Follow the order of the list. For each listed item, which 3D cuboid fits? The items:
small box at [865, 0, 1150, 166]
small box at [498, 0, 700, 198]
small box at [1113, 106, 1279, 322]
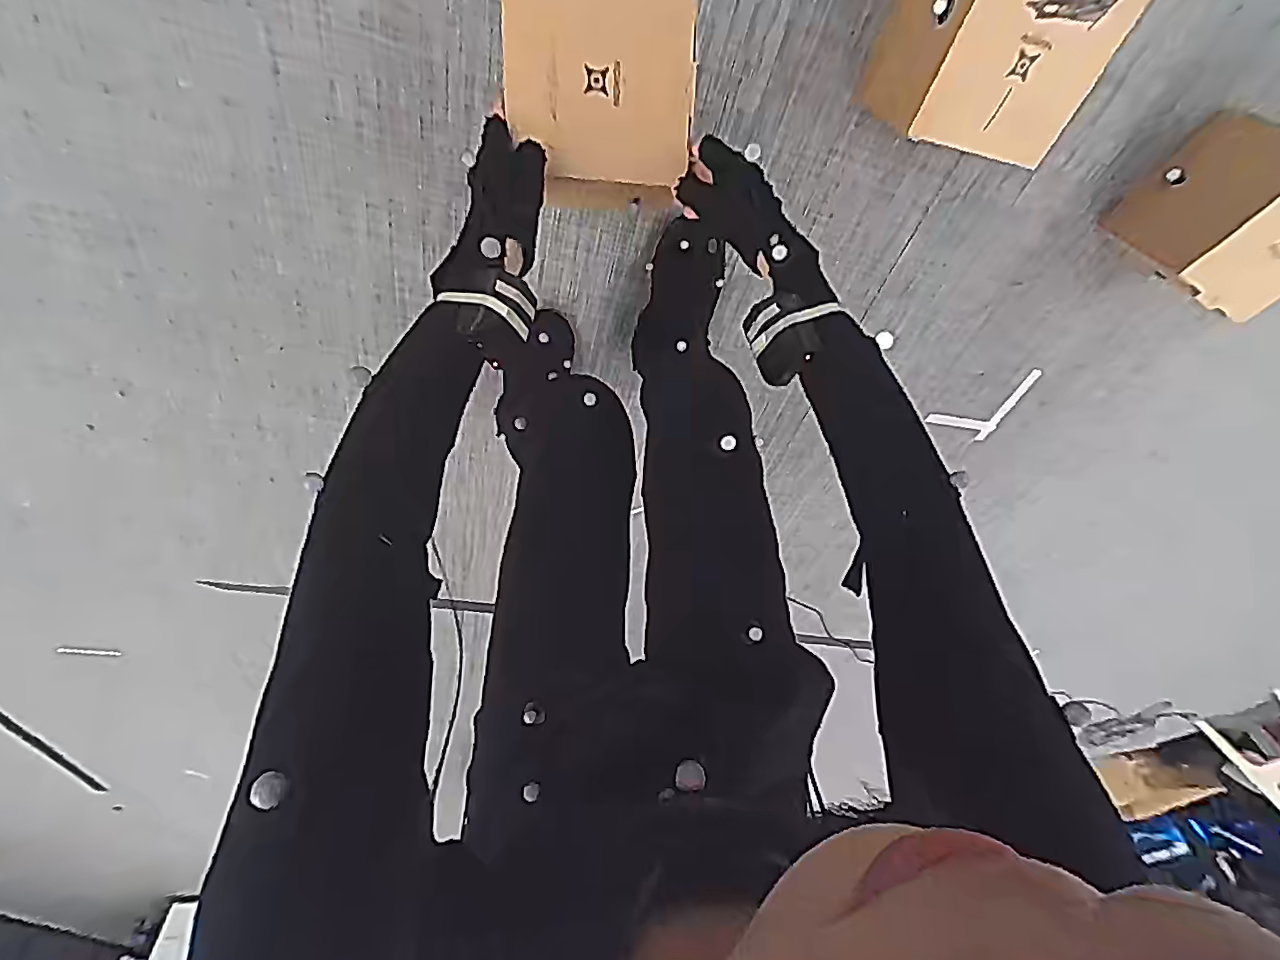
[{"bbox_3d":[0.370,-0.470,0.572,0.168,0.176,0.179,7,135,-12],"label":"small box"},{"bbox_3d":[-0.047,-0.395,0.556,0.179,0.176,0.168,0,110,-7],"label":"small box"},{"bbox_3d":[0.798,-0.355,0.727,0.168,0.176,0.179,19,131,-23],"label":"small box"}]
